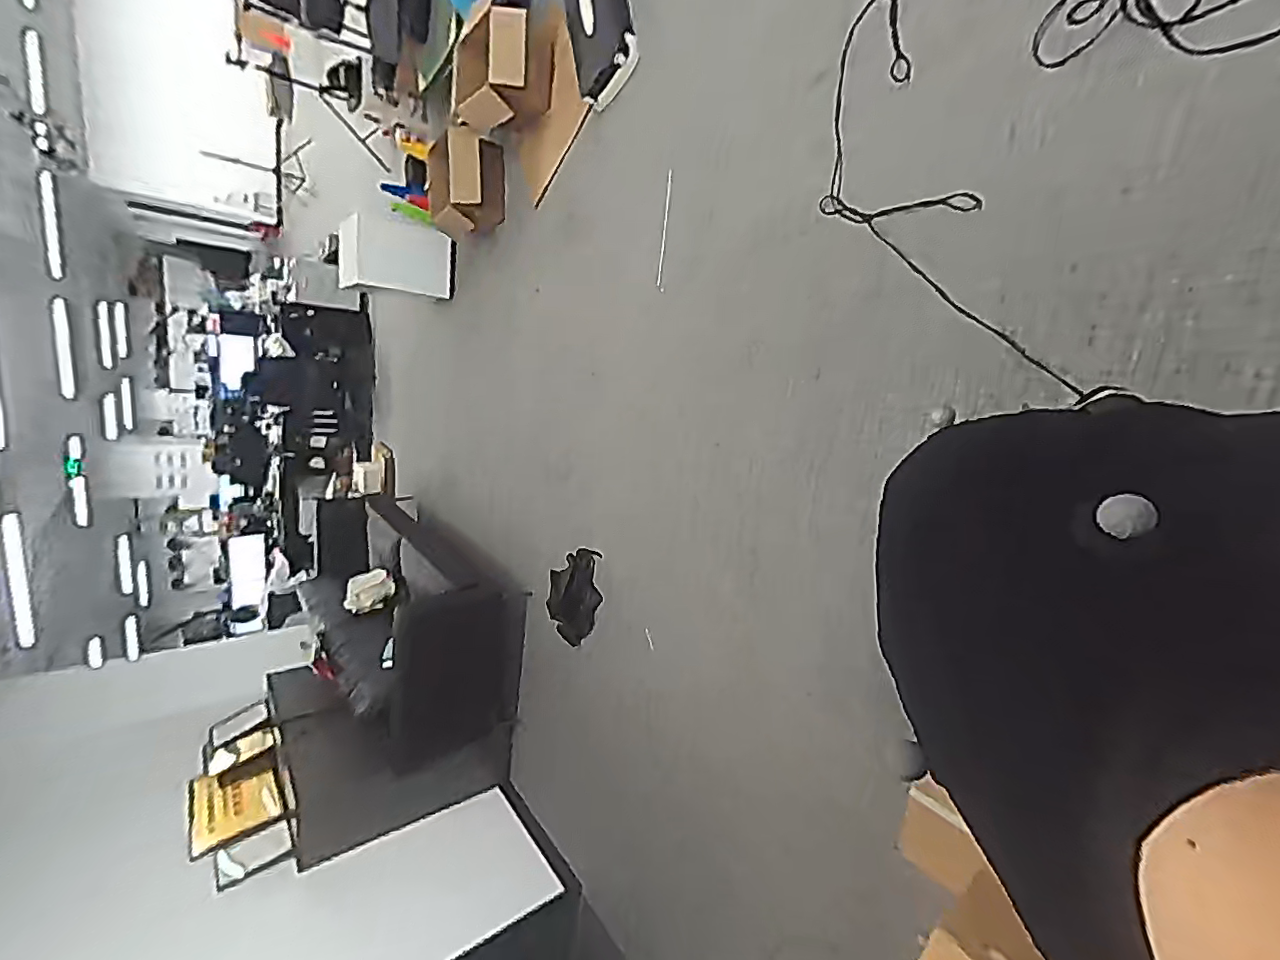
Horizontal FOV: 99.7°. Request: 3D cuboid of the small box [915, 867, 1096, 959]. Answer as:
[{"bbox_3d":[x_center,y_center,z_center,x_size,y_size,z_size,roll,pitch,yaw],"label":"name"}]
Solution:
[{"bbox_3d":[0.503,0.707,0.759,0.168,0.176,0.179,28,114,47],"label":"small box"}]
